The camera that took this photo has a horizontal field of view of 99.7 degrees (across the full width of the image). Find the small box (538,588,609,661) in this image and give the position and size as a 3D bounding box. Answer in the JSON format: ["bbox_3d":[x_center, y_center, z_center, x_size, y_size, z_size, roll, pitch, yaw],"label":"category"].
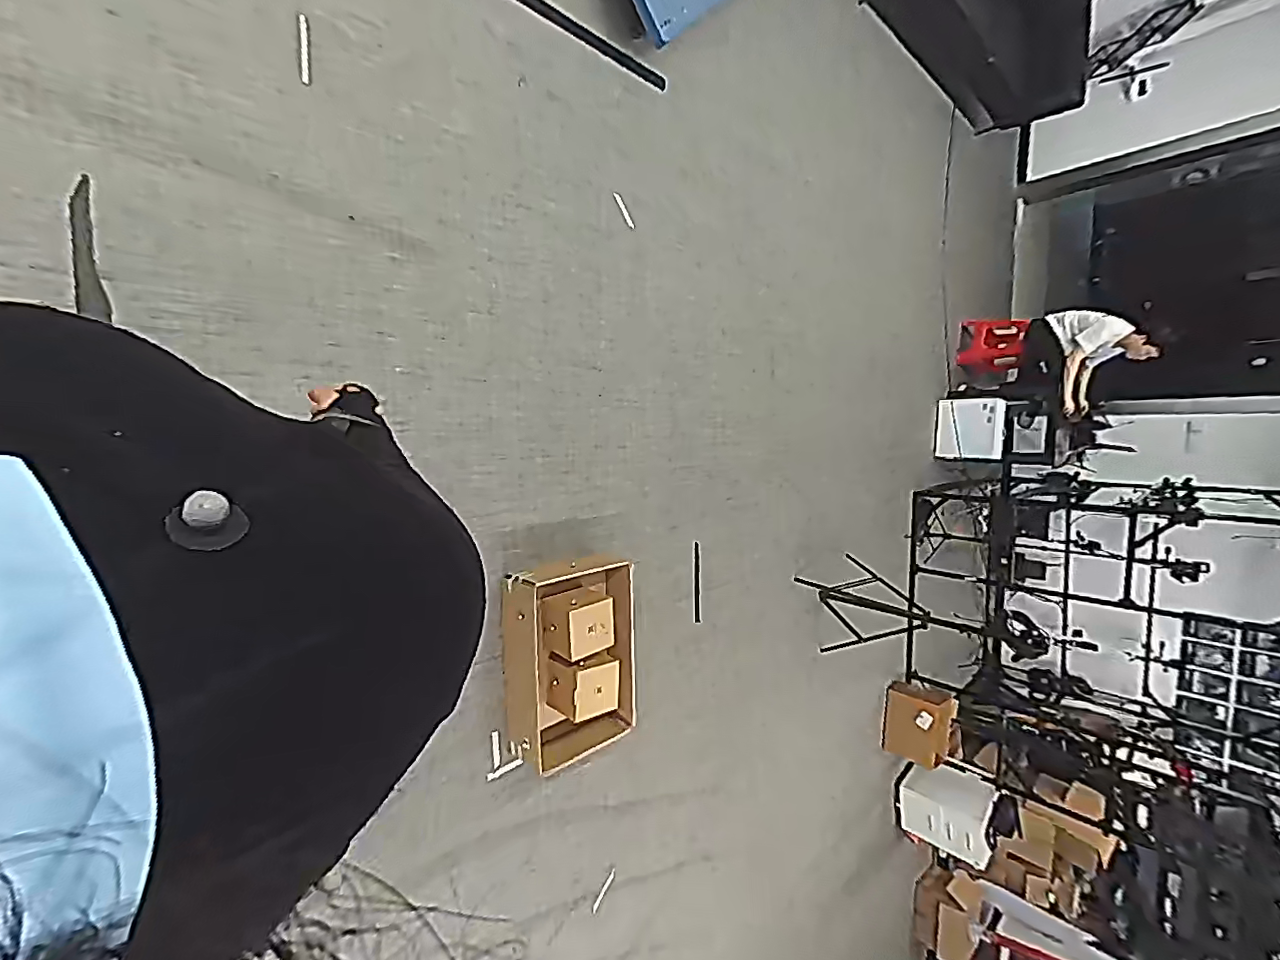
[{"bbox_3d":[-0.223,0.468,1.775,0.179,0.176,0.168,-8,101,-43],"label":"small box"}]

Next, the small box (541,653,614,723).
[{"bbox_3d":[-0.209,0.682,1.812,0.179,0.176,0.168,1,92,-43],"label":"small box"}]
